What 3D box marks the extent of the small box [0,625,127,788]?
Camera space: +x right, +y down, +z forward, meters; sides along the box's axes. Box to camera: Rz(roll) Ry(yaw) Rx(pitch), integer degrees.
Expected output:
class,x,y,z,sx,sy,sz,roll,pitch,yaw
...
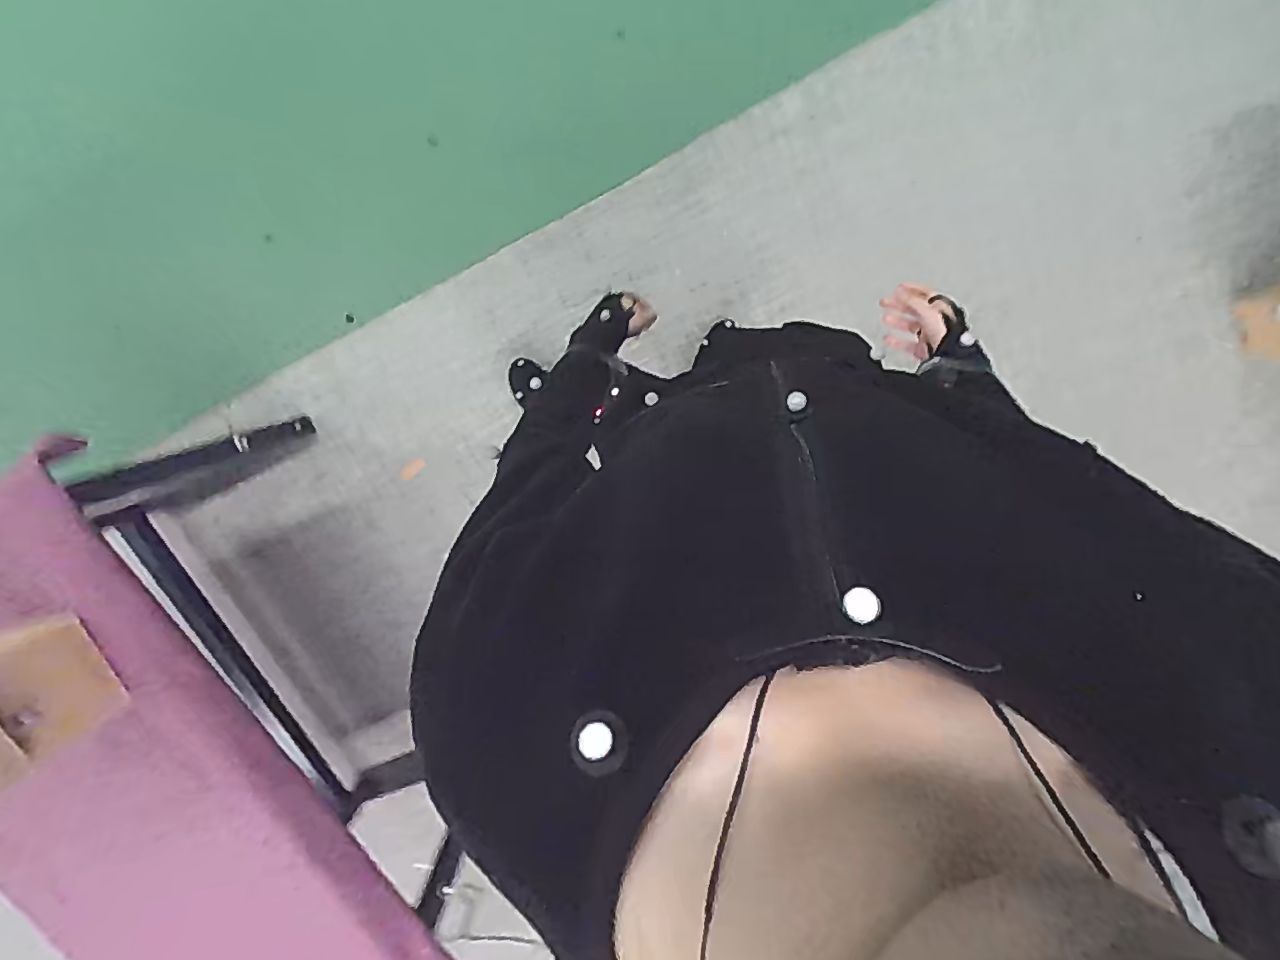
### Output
class,x,y,z,sx,sy,sz,roll,pitch,yaw
small box,-0.941,0.335,0.799,0.168,0.176,0.179,-15,107,7
